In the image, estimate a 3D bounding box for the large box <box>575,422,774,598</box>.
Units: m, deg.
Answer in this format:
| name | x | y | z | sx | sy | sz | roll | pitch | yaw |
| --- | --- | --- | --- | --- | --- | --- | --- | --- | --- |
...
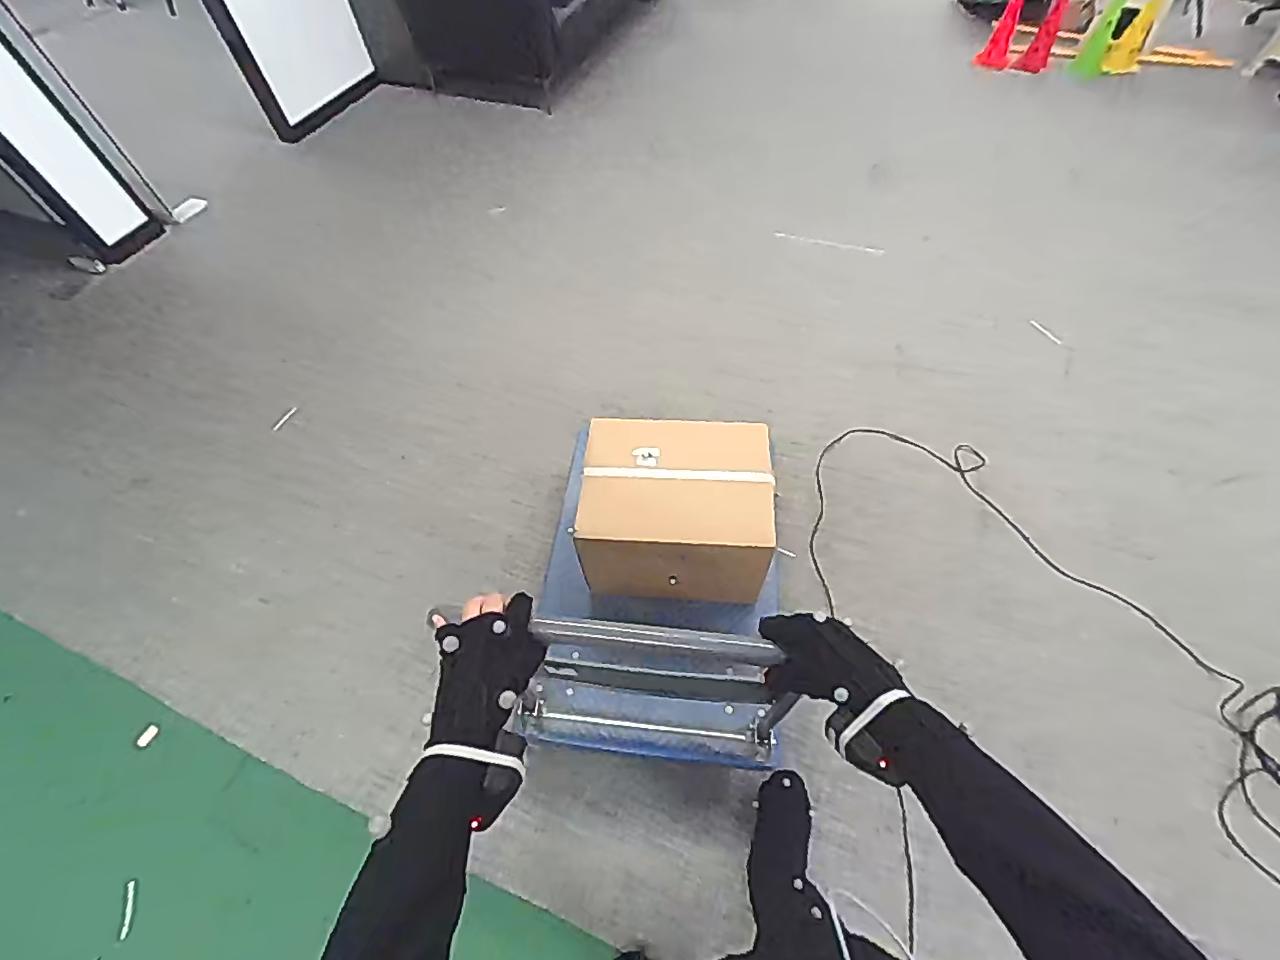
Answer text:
| name | x | y | z | sx | sy | sz | roll | pitch | yaw |
| --- | --- | --- | --- | --- | --- | --- | --- | --- | --- |
| large box | 0.083 | 0.077 | 1.279 | 0.408 | 0.320 | 0.320 | 2 | 56 | 5 |
